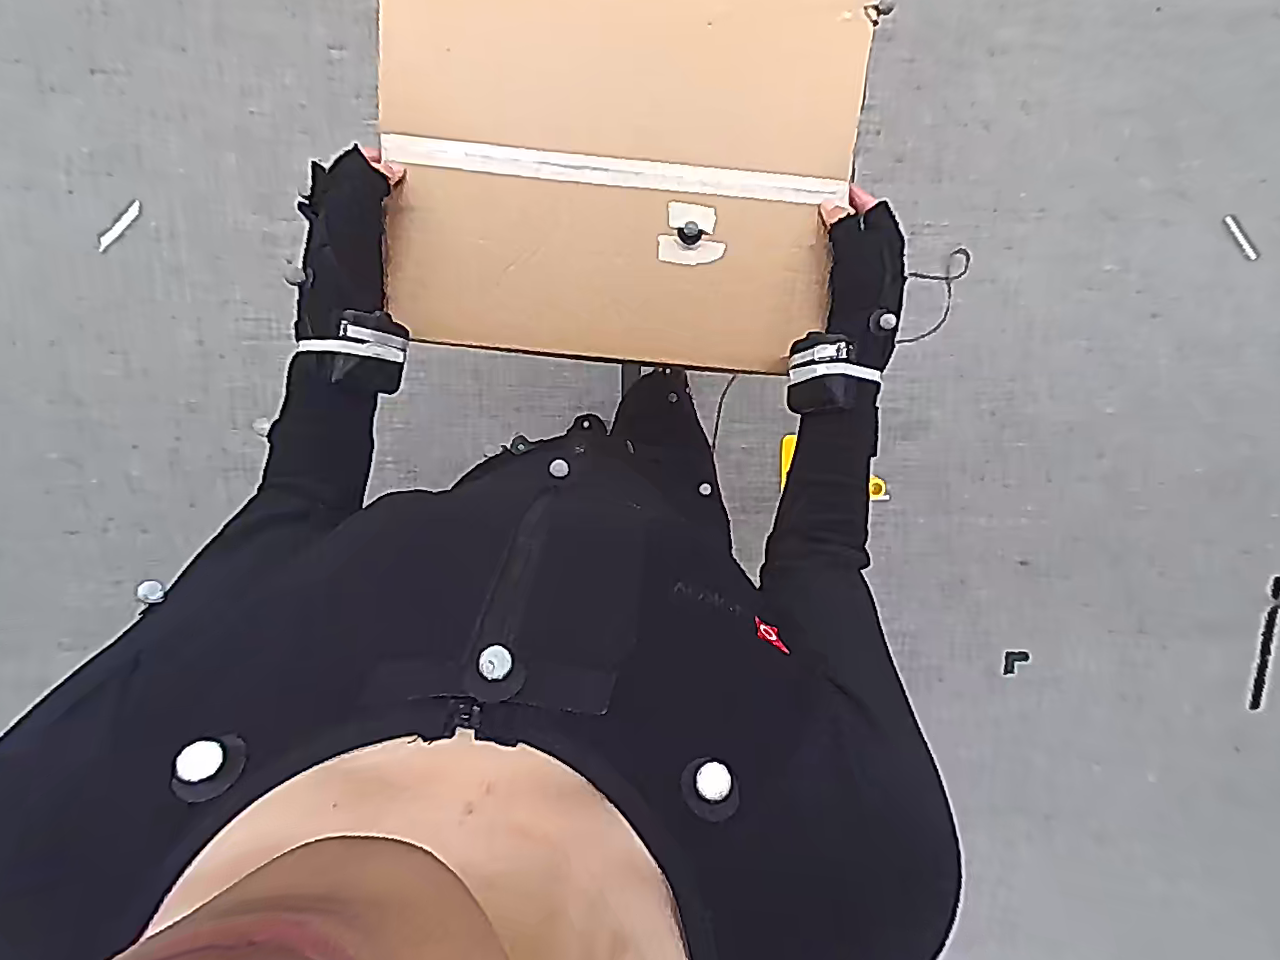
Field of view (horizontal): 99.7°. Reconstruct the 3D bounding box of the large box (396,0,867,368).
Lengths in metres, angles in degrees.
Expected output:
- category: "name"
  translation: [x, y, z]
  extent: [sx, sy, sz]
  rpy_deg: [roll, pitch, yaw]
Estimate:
- category: "large box"
  translation: [-0.021, -0.301, 0.623]
  extent: [0.408, 0.320, 0.320]
  rpy_deg: [5, 101, -3]
